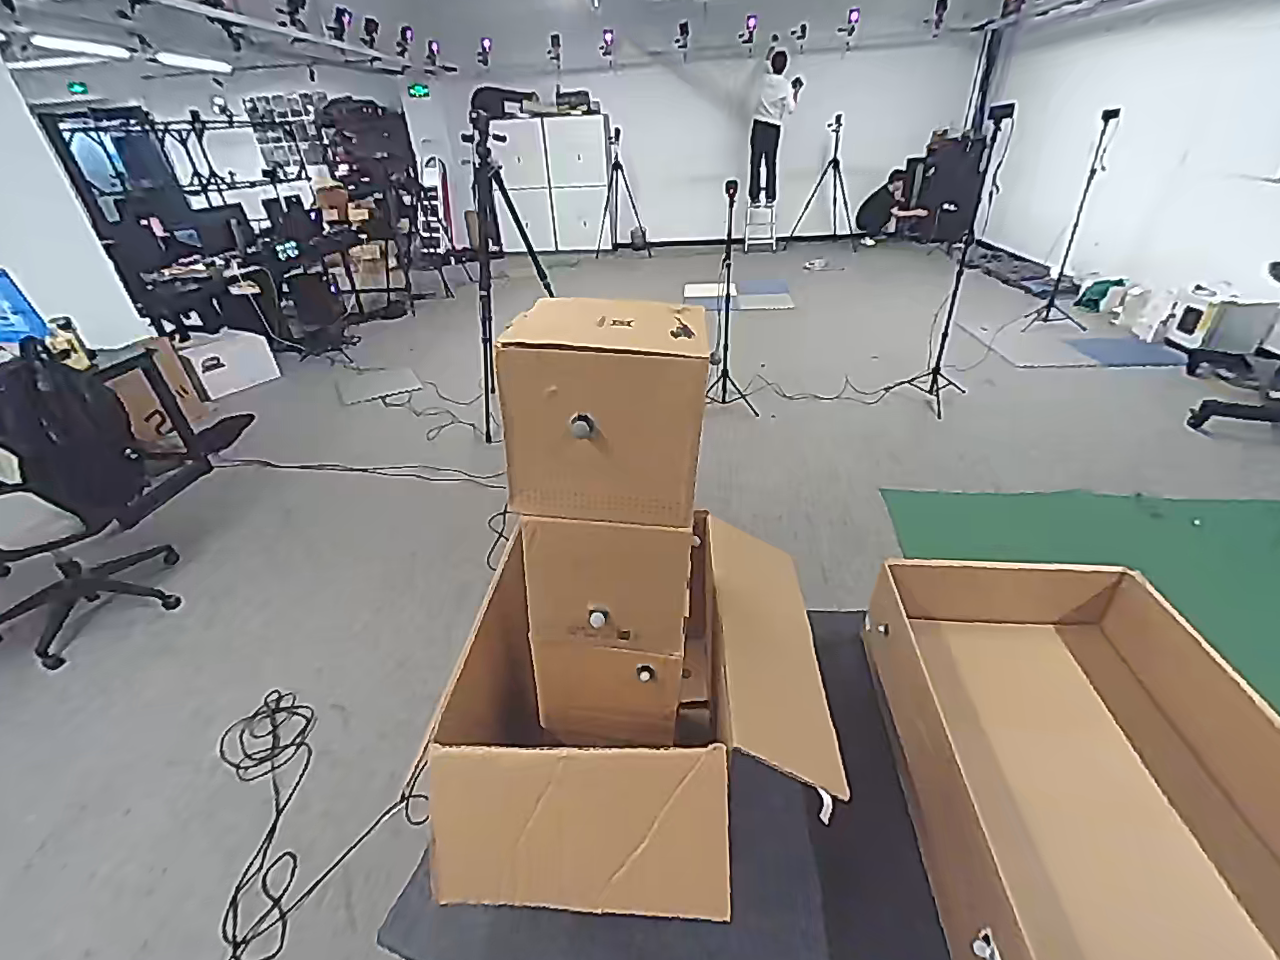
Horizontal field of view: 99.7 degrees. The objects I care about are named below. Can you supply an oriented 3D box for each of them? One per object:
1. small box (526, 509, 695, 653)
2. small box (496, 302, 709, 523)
[{"bbox_3d":[-0.026,0.069,0.624,0.168,0.176,0.179,4,32,3],"label":"small box"},{"bbox_3d":[-0.026,-0.071,0.539,0.179,0.176,0.168,4,32,3],"label":"small box"}]
